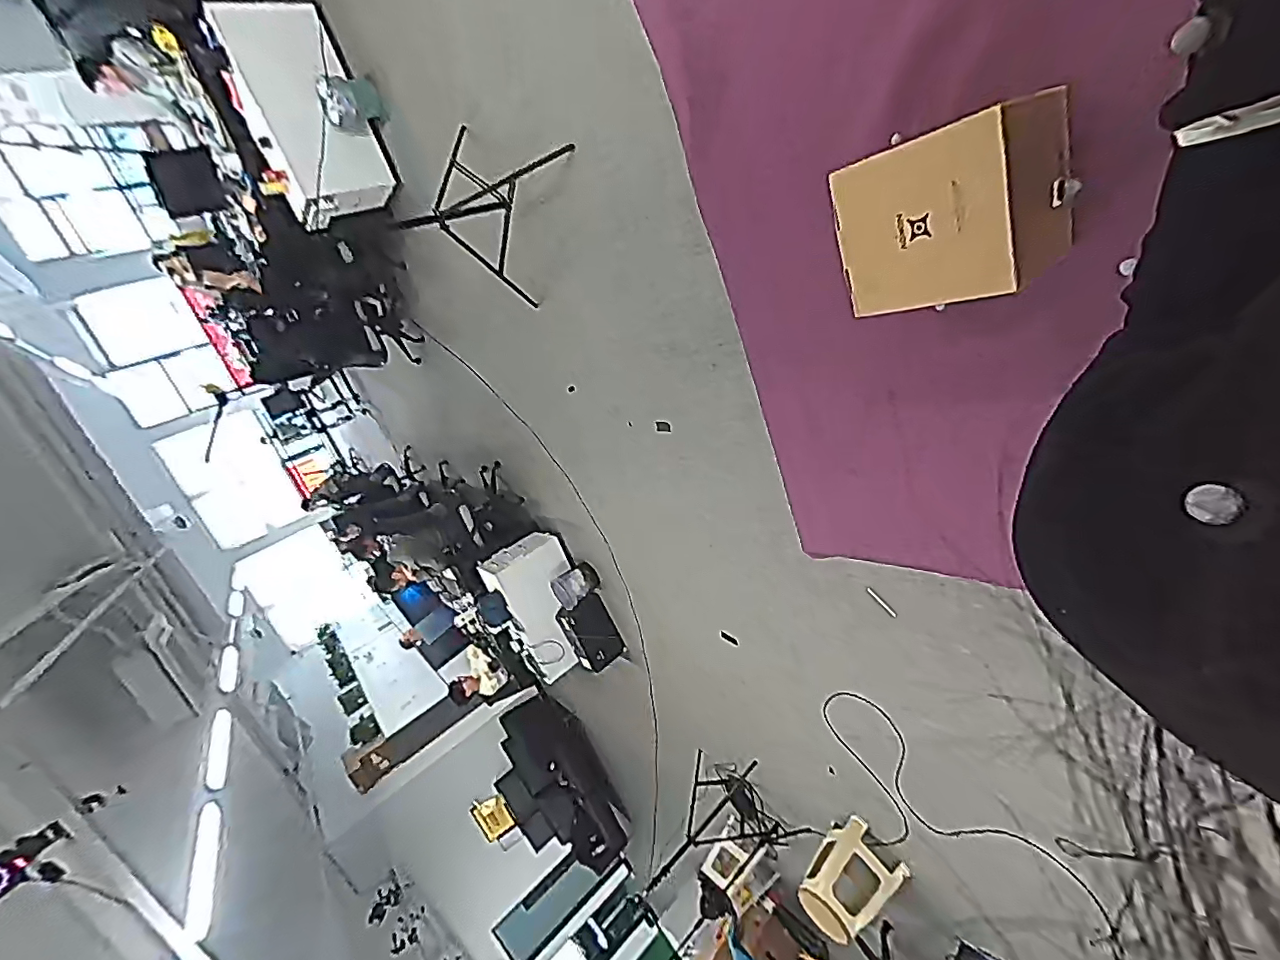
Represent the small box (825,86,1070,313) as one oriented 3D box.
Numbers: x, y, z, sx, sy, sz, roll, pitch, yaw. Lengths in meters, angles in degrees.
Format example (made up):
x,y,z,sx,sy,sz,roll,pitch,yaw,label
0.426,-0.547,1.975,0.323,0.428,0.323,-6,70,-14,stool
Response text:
x,y,z,sx,sy,sz,roll,pitch,yaw,label
0.340,-0.302,0.600,0.179,0.176,0.168,7,124,52,small box
